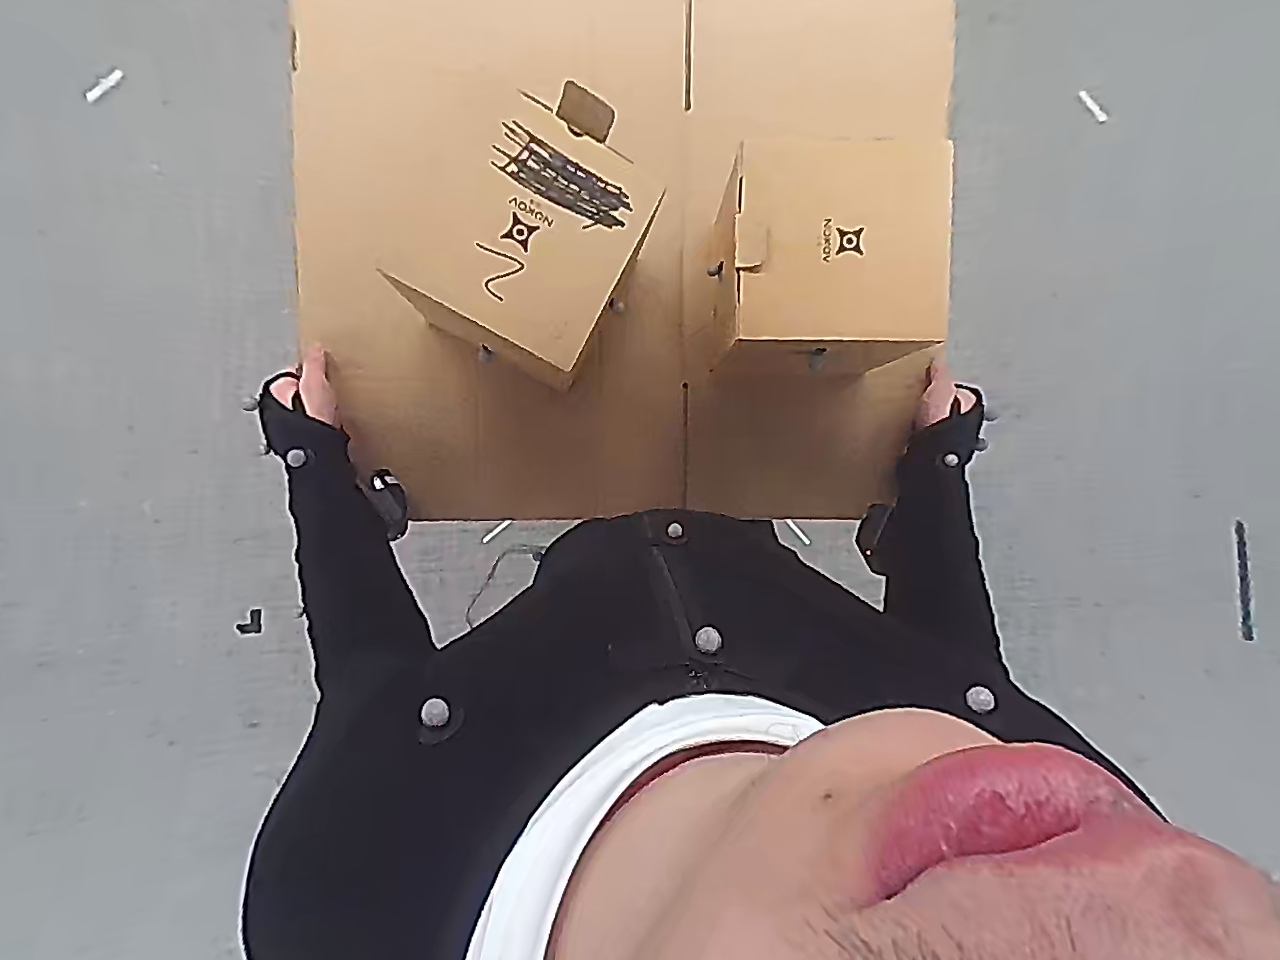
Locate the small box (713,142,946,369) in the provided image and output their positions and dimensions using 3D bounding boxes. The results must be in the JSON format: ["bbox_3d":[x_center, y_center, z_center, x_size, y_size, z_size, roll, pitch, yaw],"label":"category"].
[{"bbox_3d":[0.172,-0.207,0.541,0.179,0.176,0.168,0,92,1],"label":"small box"}]
